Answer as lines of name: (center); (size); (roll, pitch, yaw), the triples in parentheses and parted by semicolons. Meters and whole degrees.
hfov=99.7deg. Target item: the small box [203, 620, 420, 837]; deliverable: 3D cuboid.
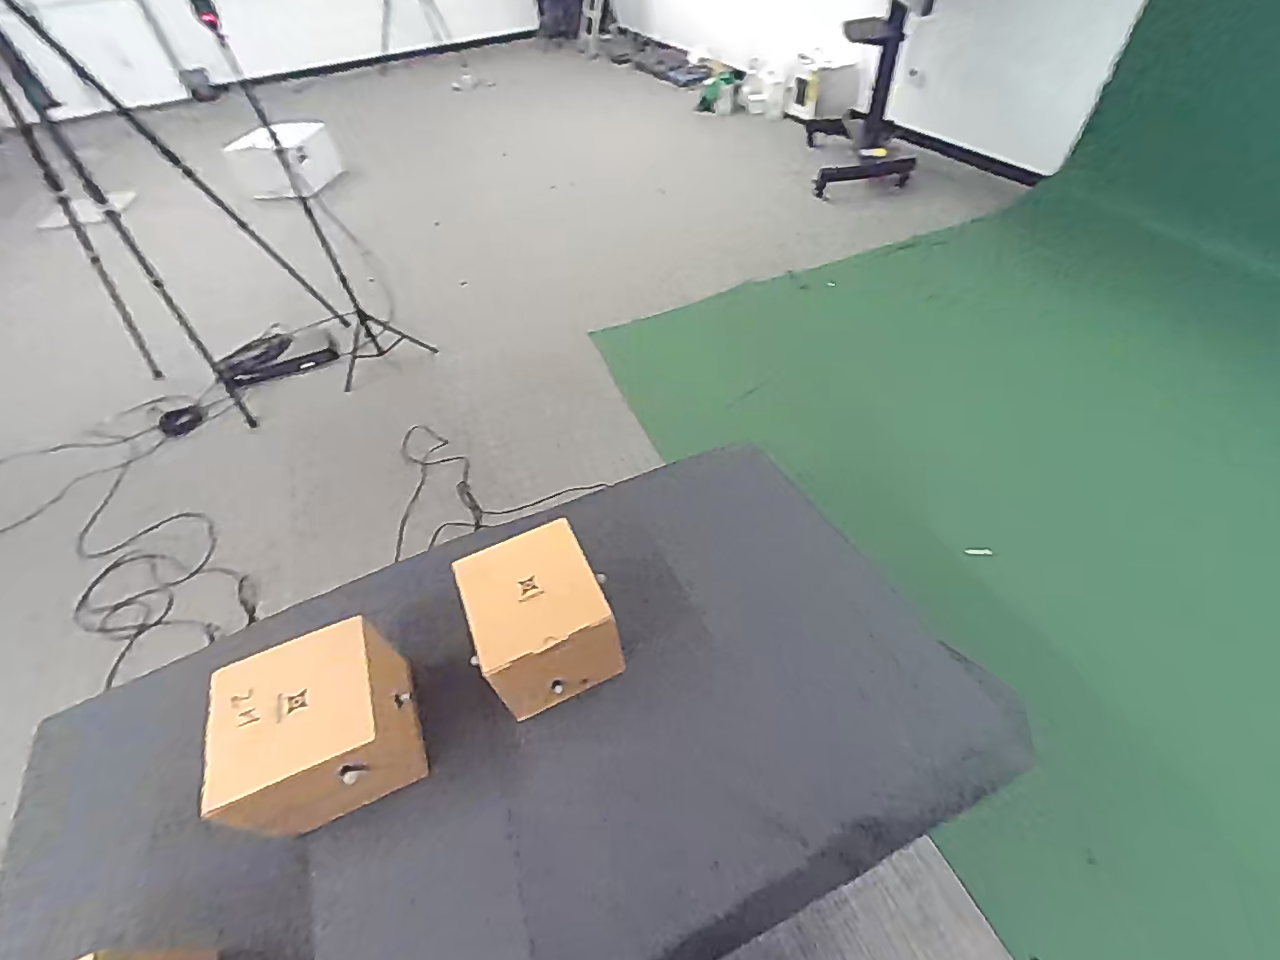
small box: (-0.391, 0.310, 0.674); (0.179, 0.176, 0.168); (-20, 51, -13)

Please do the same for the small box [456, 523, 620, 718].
small box: (-0.139, 0.198, 0.759); (0.168, 0.176, 0.179); (-22, 51, -15)
